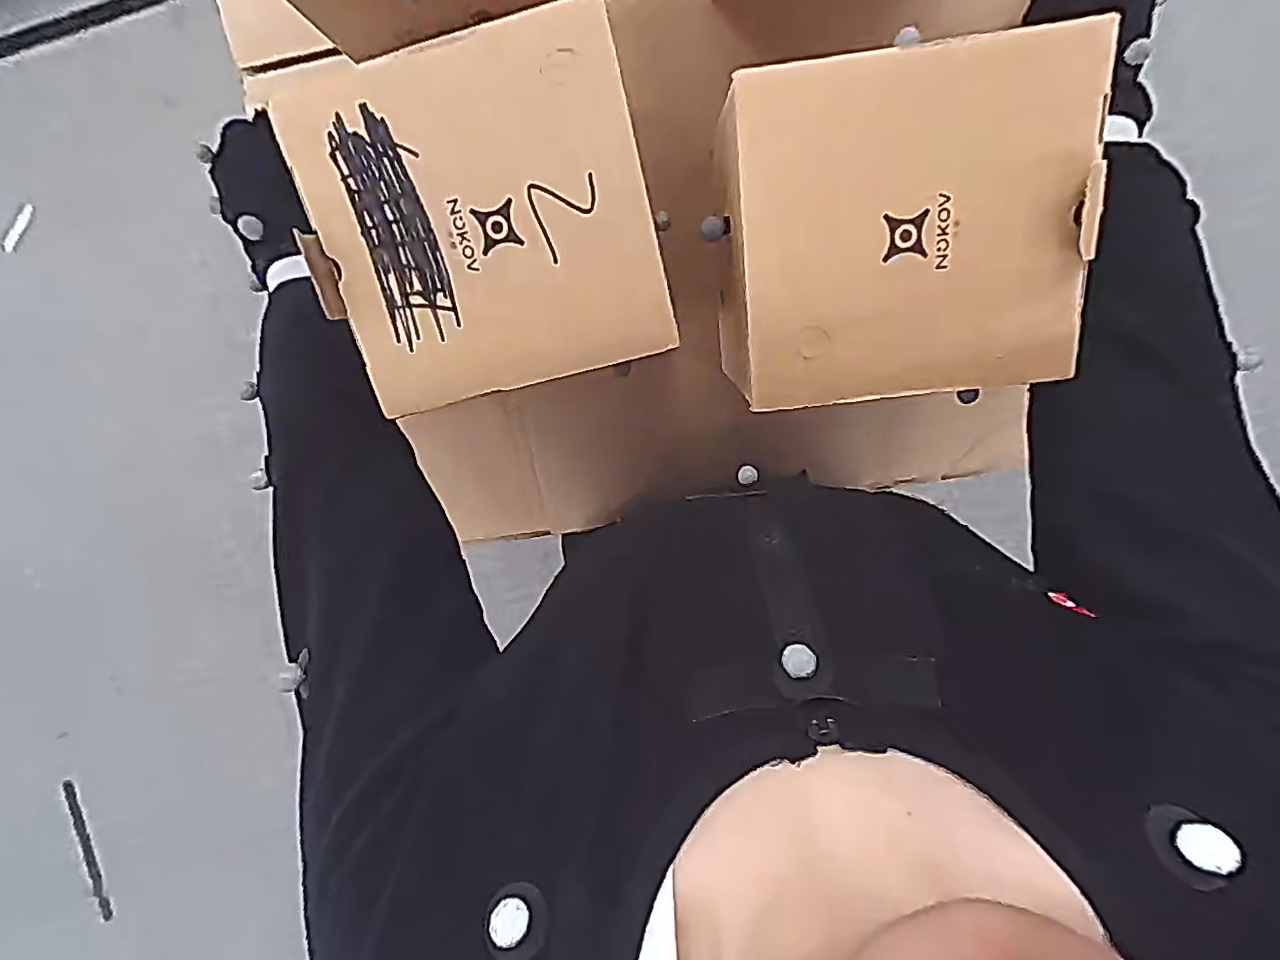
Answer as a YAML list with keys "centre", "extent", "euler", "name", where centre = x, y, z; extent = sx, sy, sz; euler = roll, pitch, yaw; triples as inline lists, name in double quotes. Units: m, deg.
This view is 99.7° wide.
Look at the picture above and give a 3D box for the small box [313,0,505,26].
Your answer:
- centre: [-0.154, -0.392, 0.293]
  extent: [0.168, 0.176, 0.179]
  euler: [-9, 104, 5]
  name: "small box"
